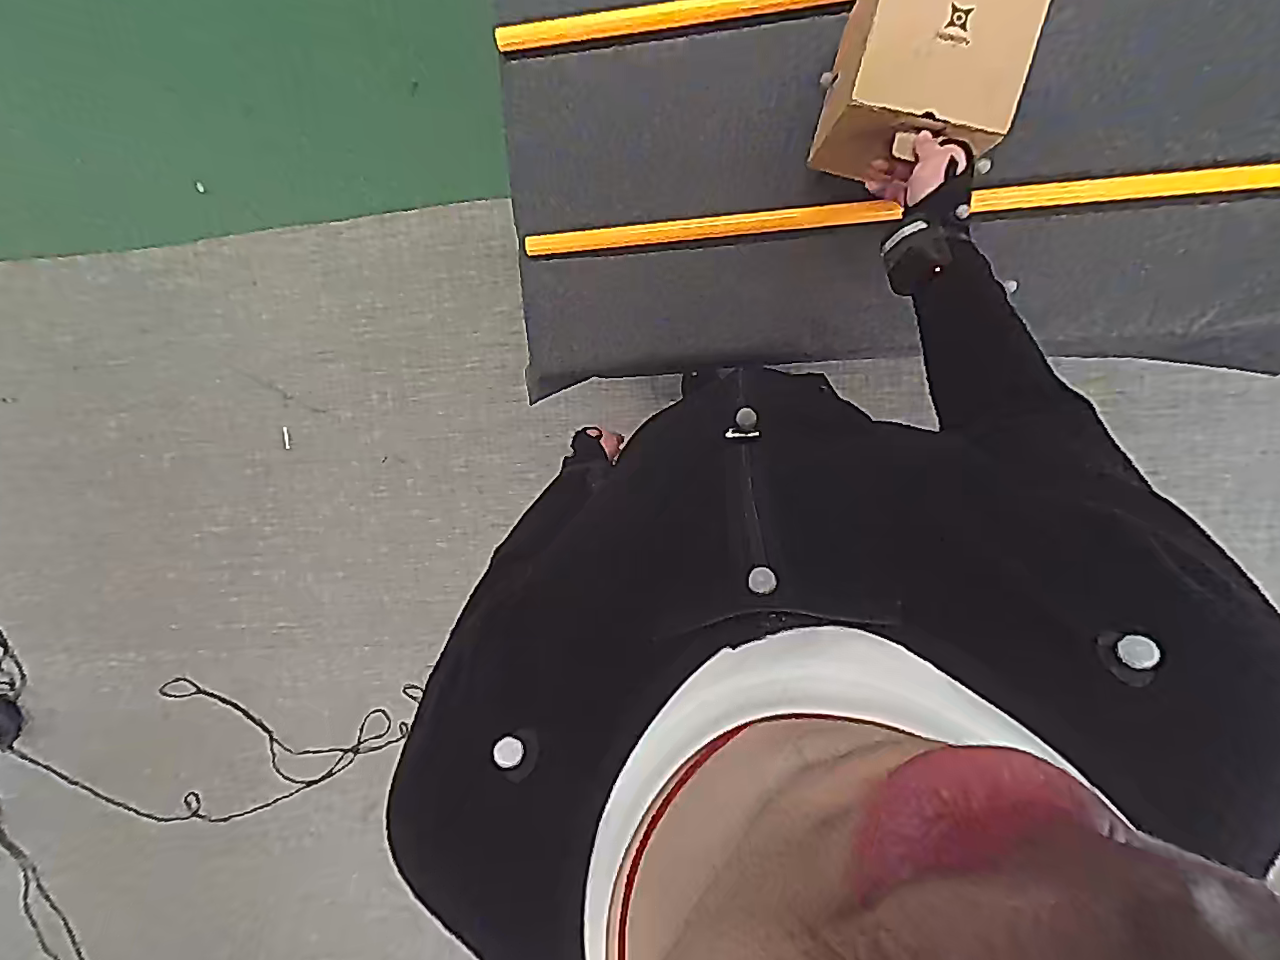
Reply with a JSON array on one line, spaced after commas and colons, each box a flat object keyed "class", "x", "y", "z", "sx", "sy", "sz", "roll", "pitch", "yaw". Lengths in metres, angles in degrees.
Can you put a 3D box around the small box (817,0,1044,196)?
[{"class": "small box", "x": 0.320, "y": -0.460, "z": 0.632, "sx": 0.168, "sy": 0.176, "sz": 0.179, "roll": 12, "pitch": 99, "yaw": 2}]
